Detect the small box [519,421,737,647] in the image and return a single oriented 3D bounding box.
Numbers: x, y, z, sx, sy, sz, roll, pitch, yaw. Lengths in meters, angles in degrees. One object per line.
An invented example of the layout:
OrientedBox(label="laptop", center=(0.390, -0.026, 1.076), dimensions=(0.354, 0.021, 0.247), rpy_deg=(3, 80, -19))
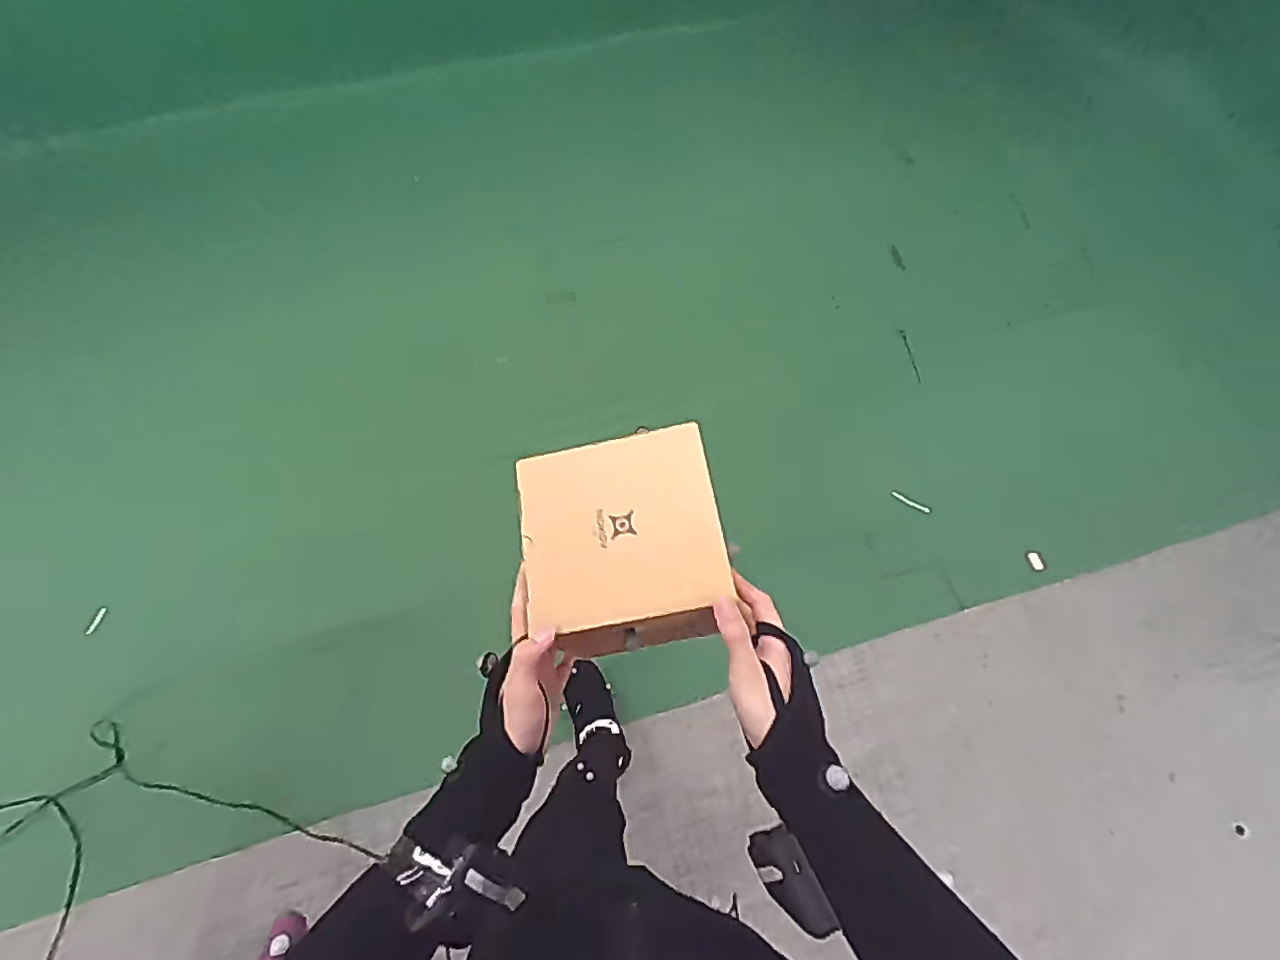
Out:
OrientedBox(label="small box", center=(-0.005, 0.065, 0.544), dimensions=(0.179, 0.176, 0.168), rpy_deg=(-13, 66, 6))
